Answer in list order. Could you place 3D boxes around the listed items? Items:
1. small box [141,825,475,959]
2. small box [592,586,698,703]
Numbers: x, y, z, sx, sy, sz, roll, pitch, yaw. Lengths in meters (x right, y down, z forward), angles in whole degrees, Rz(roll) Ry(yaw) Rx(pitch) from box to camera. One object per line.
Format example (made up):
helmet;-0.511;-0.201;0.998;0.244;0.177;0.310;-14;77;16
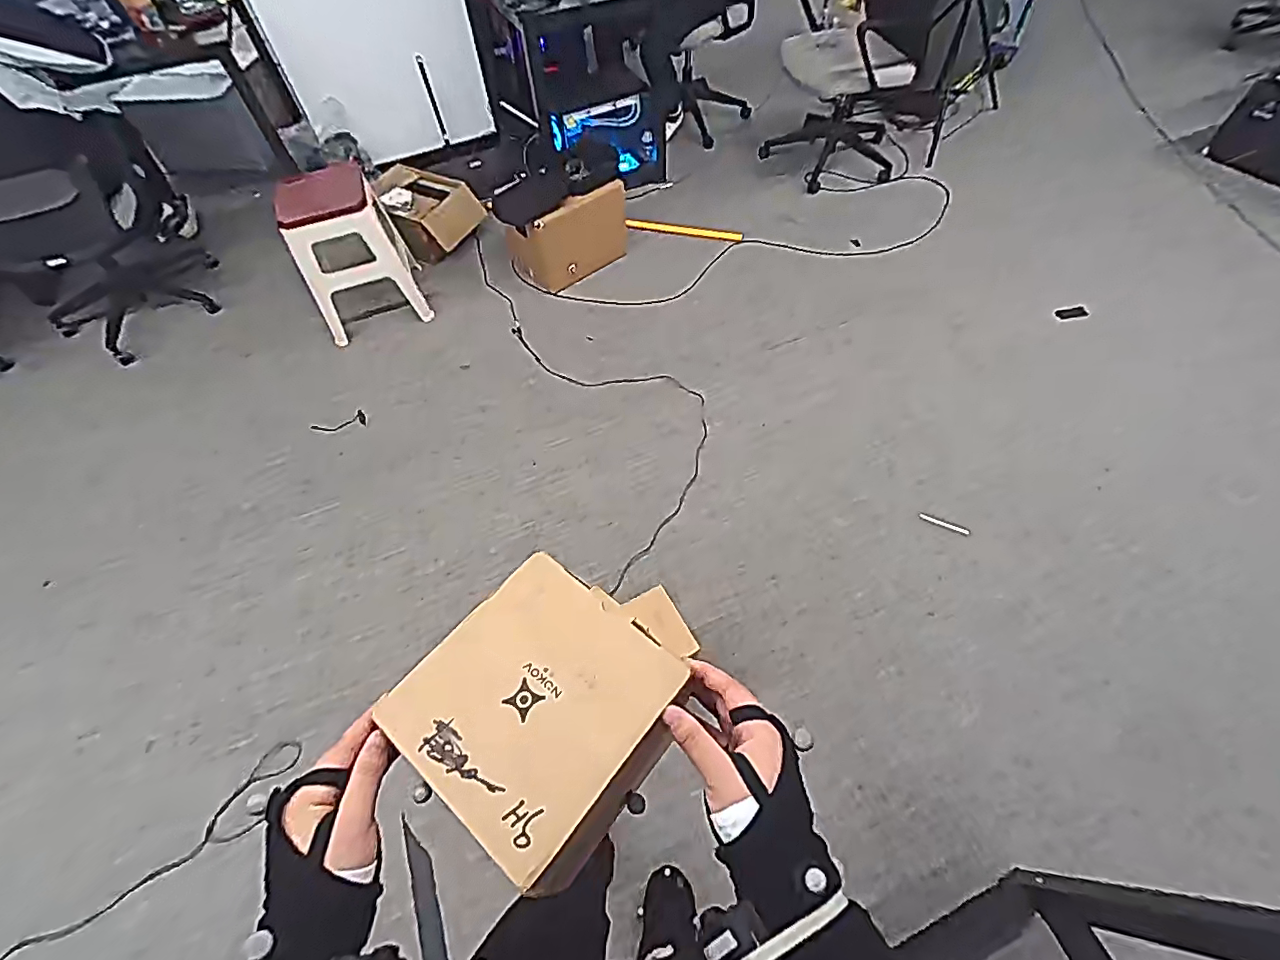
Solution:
small box;-0.212;0.378;0.337;0.176;0.168;0.179;42;111;29
small box;0.012;0.371;1.206;0.179;0.176;0.168;-26;61;-14
